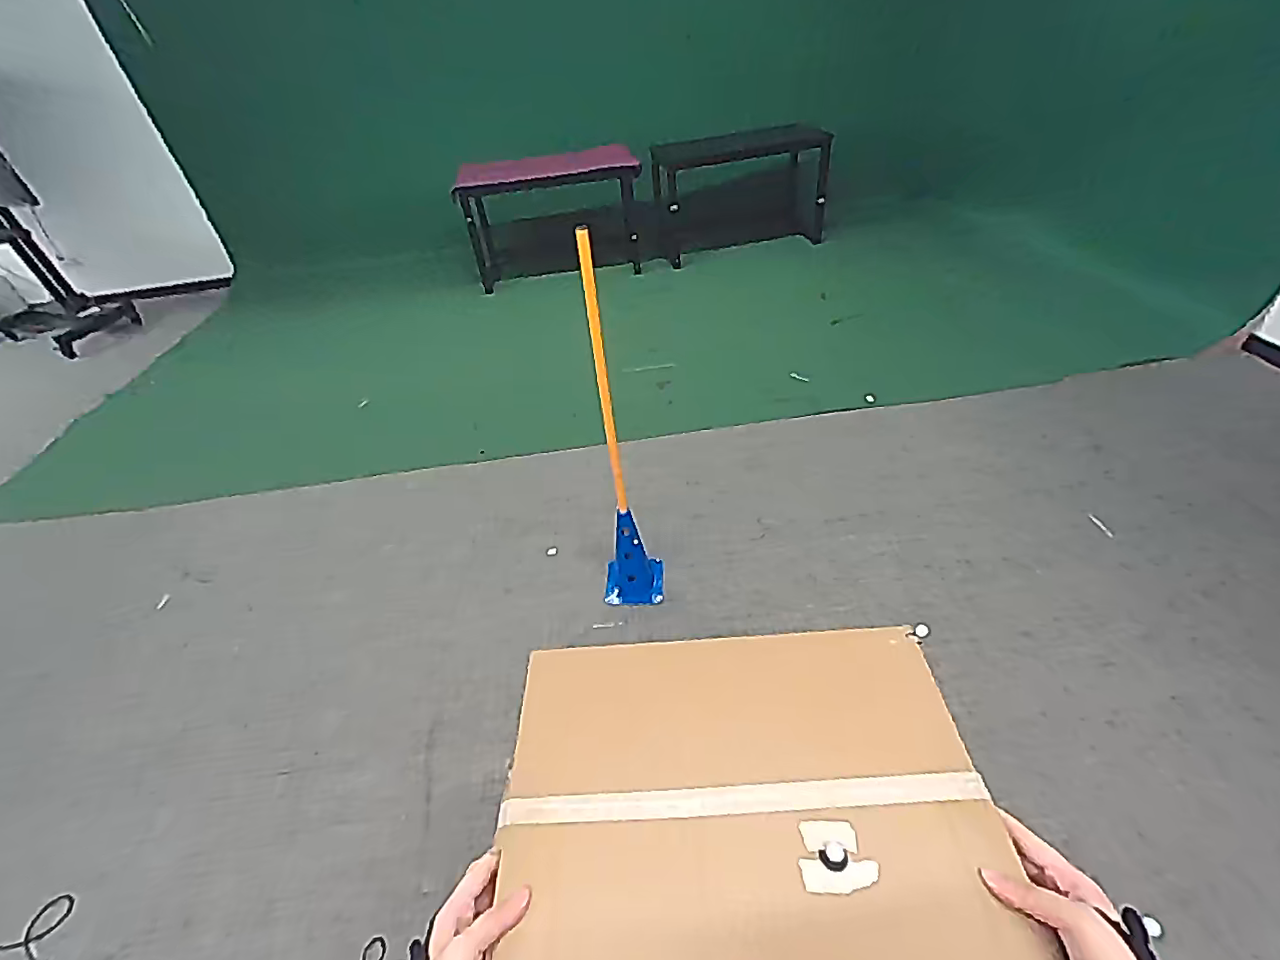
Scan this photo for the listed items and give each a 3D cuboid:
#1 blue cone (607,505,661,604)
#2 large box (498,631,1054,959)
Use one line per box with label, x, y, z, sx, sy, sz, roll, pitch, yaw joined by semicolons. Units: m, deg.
blue cone;-0.036;0.240;1.823;0.193;0.380;0.192;-2;40;6
large box;0.099;0.389;0.565;0.408;0.320;0.320;-4;42;2
